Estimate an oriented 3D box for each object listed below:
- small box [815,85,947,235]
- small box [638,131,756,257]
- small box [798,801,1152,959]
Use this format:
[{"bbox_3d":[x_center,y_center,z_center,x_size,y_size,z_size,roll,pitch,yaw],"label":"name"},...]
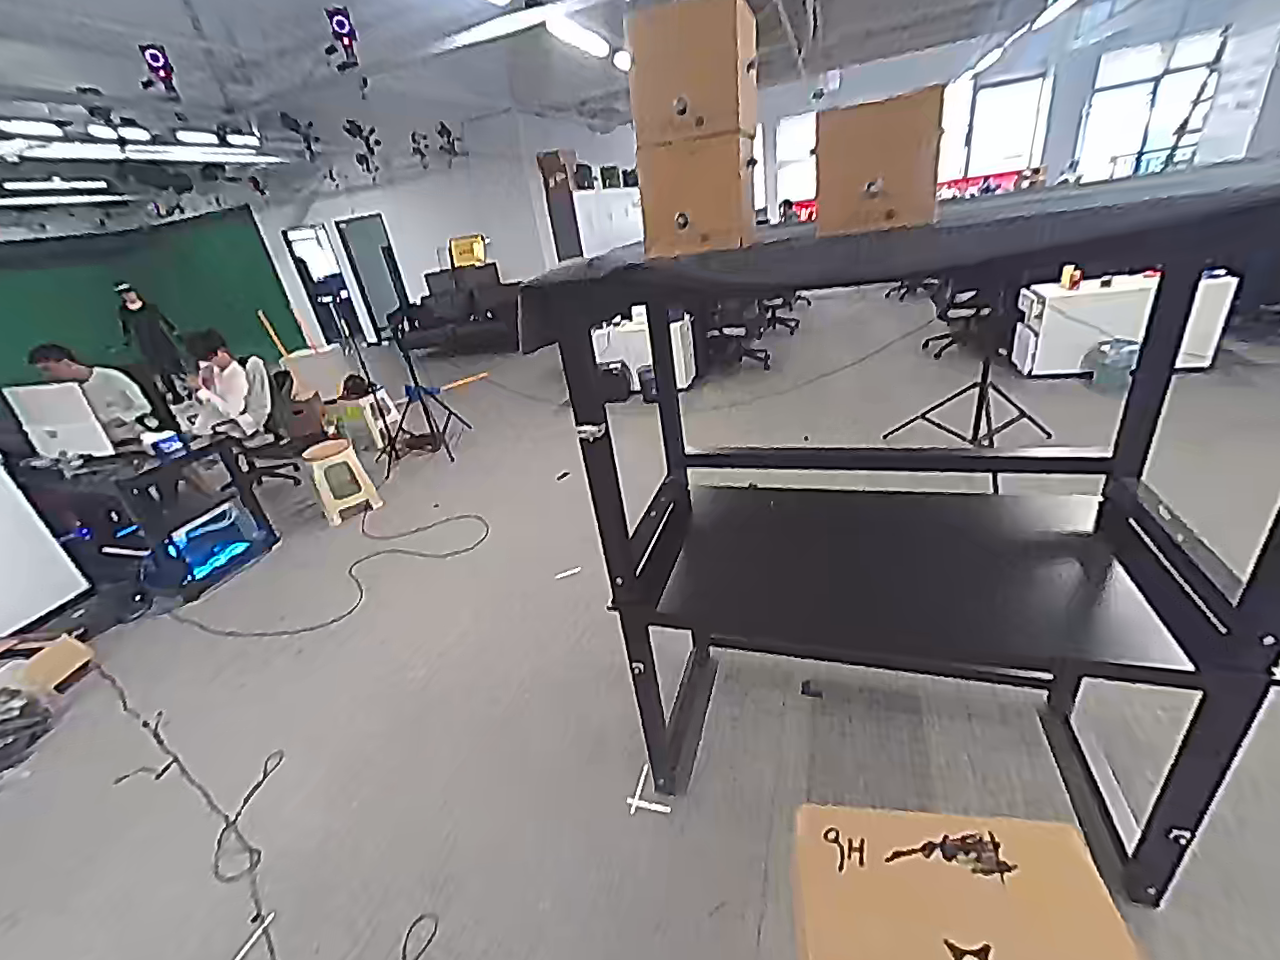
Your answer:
[{"bbox_3d":[0.362,-0.479,0.834,0.168,0.176,0.179,1,26,21],"label":"small box"},{"bbox_3d":[0.106,-0.483,0.930,0.168,0.176,0.179,2,27,19],"label":"small box"},{"bbox_3d":[0.183,0.323,0.311,0.168,0.176,0.179,-2,32,11],"label":"small box"}]
